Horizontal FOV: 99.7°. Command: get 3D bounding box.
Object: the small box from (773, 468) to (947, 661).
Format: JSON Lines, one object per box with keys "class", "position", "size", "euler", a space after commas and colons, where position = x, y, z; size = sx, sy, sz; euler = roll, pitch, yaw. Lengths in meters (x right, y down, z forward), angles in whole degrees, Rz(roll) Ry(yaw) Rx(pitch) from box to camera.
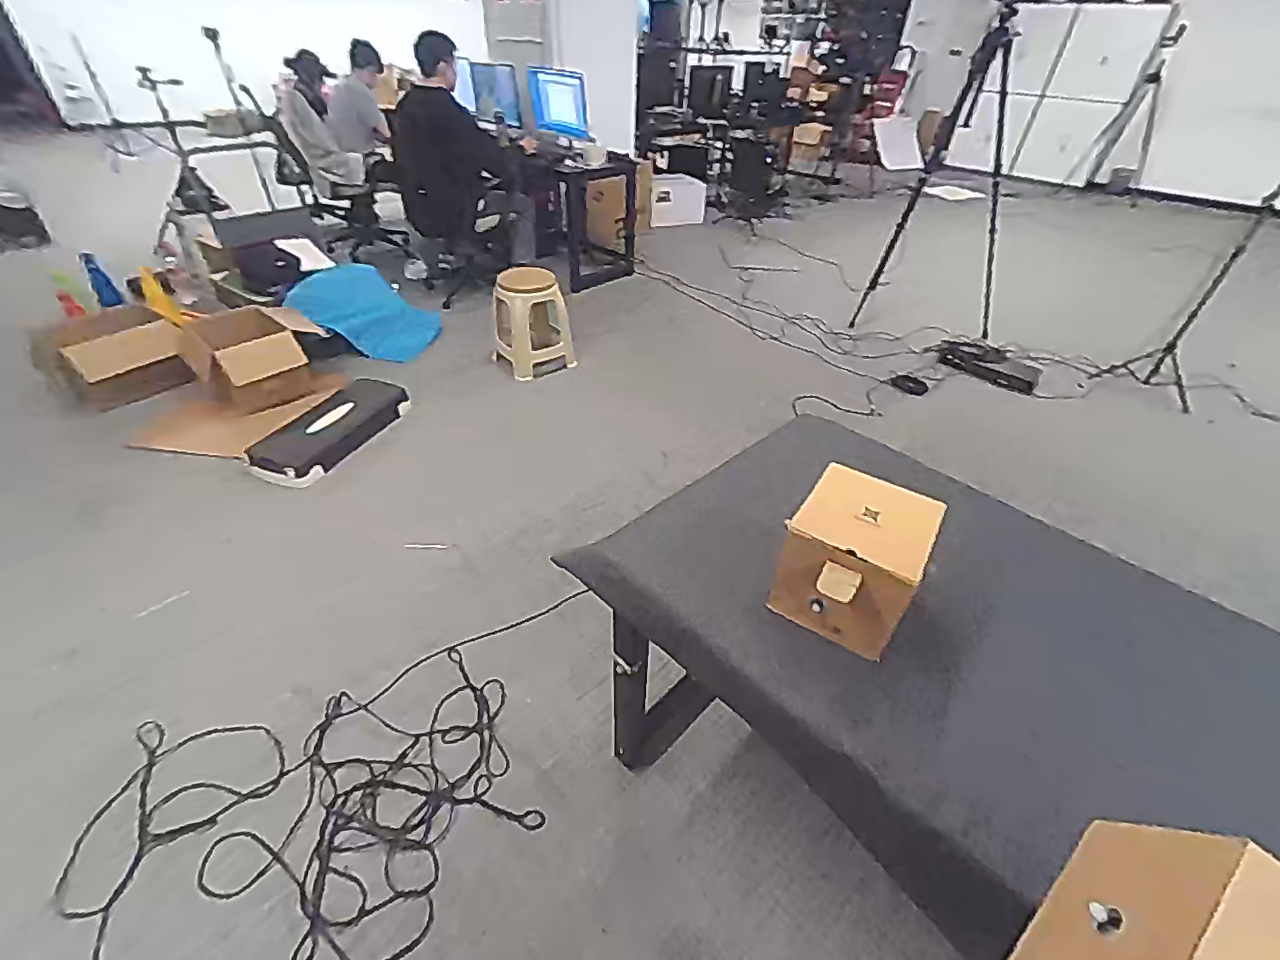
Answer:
{"class": "small box", "position": [0.307, 0.117, 0.773], "size": [0.168, 0.176, 0.179], "euler": [25, 44, 24]}
